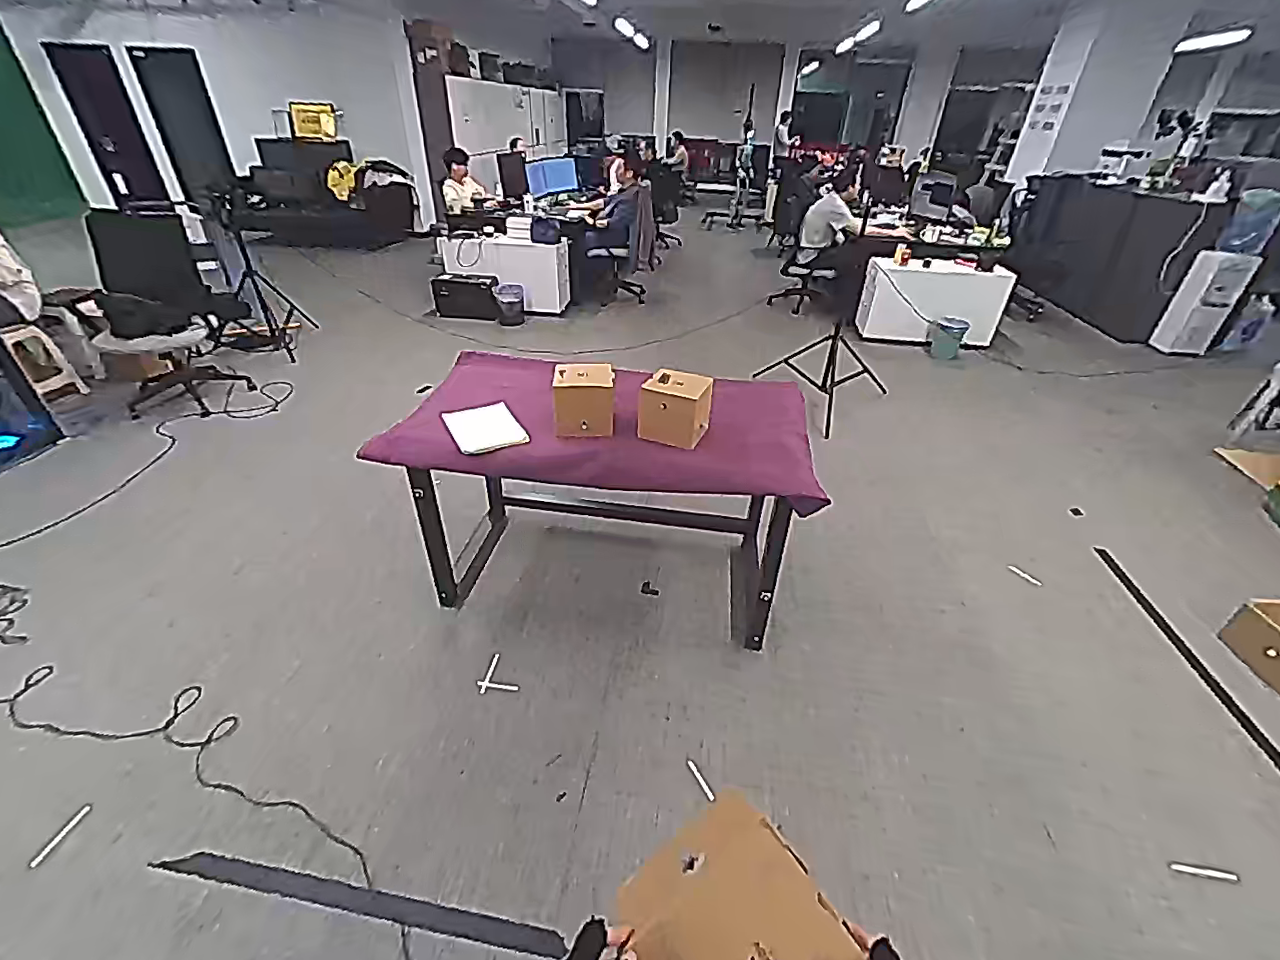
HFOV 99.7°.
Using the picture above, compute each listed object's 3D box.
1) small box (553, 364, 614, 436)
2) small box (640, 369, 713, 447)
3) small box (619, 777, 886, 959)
[{"bbox_3d":[-0.171,-0.243,1.656,0.179,0.176,0.168,0,33,-4],"label":"small box"},{"bbox_3d":[0.106,-0.217,1.626,0.179,0.176,0.168,15,35,18],"label":"small box"},{"bbox_3d":[0.093,0.429,0.535,0.179,0.176,0.168,-36,74,-14],"label":"small box"}]
